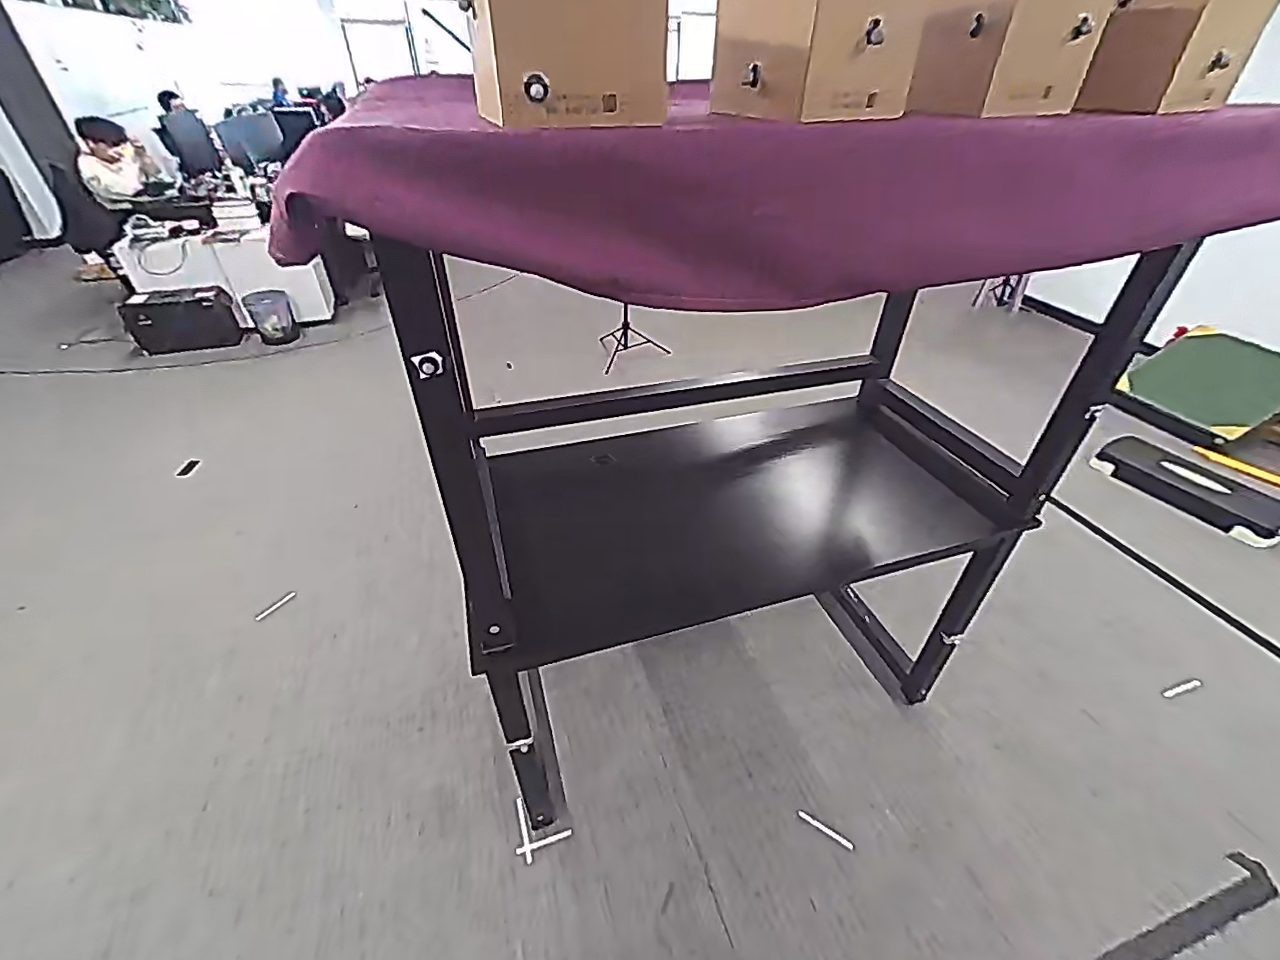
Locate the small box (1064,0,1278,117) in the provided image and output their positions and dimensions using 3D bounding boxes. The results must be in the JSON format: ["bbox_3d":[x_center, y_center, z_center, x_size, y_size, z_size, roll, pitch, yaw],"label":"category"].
[{"bbox_3d":[0.715,-0.613,0.756,0.168,0.176,0.179,-16,40,-19],"label":"small box"}]

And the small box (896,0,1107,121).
[{"bbox_3d":[0.460,-0.571,0.703,0.168,0.176,0.179,-13,39,-18],"label":"small box"}]

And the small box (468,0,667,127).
[{"bbox_3d":[-0.075,-0.456,0.540,0.168,0.176,0.179,-12,38,-17],"label":"small box"}]

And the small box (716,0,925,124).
[{"bbox_3d":[0.206,-0.518,0.626,0.168,0.176,0.179,-18,41,-22],"label":"small box"}]
